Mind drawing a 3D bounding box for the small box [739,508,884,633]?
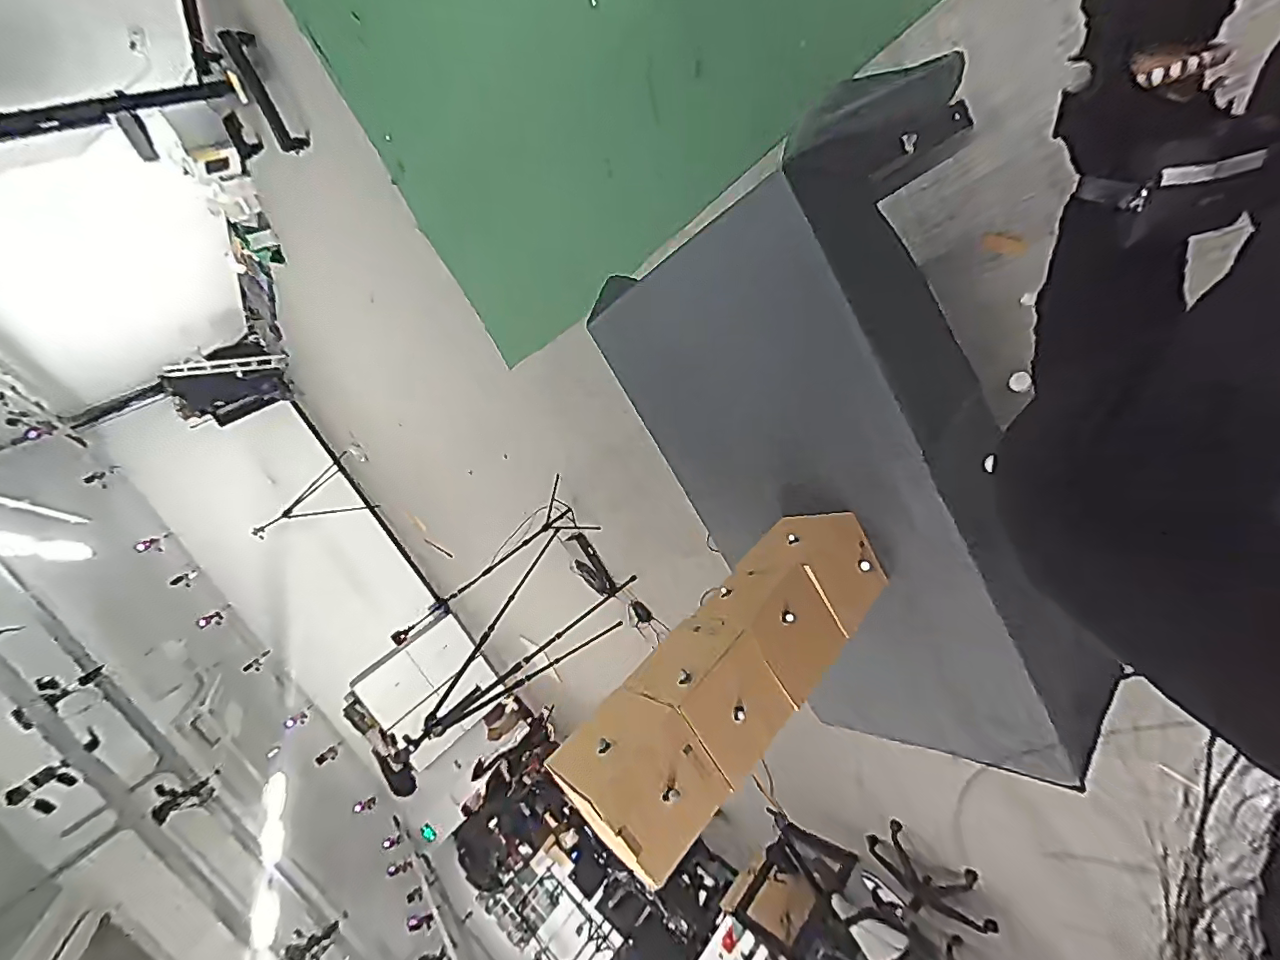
[{"bbox_3d":[0.332,0.169,1.045,0.179,0.176,0.168,-13,111,56],"label":"small box"}]

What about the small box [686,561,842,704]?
[{"bbox_3d":[0.222,0.258,0.964,0.179,0.176,0.168,58,149,-10],"label":"small box"}]

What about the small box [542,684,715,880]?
[{"bbox_3d":[-0.010,0.435,0.814,0.179,0.176,0.168,-15,109,57],"label":"small box"}]
